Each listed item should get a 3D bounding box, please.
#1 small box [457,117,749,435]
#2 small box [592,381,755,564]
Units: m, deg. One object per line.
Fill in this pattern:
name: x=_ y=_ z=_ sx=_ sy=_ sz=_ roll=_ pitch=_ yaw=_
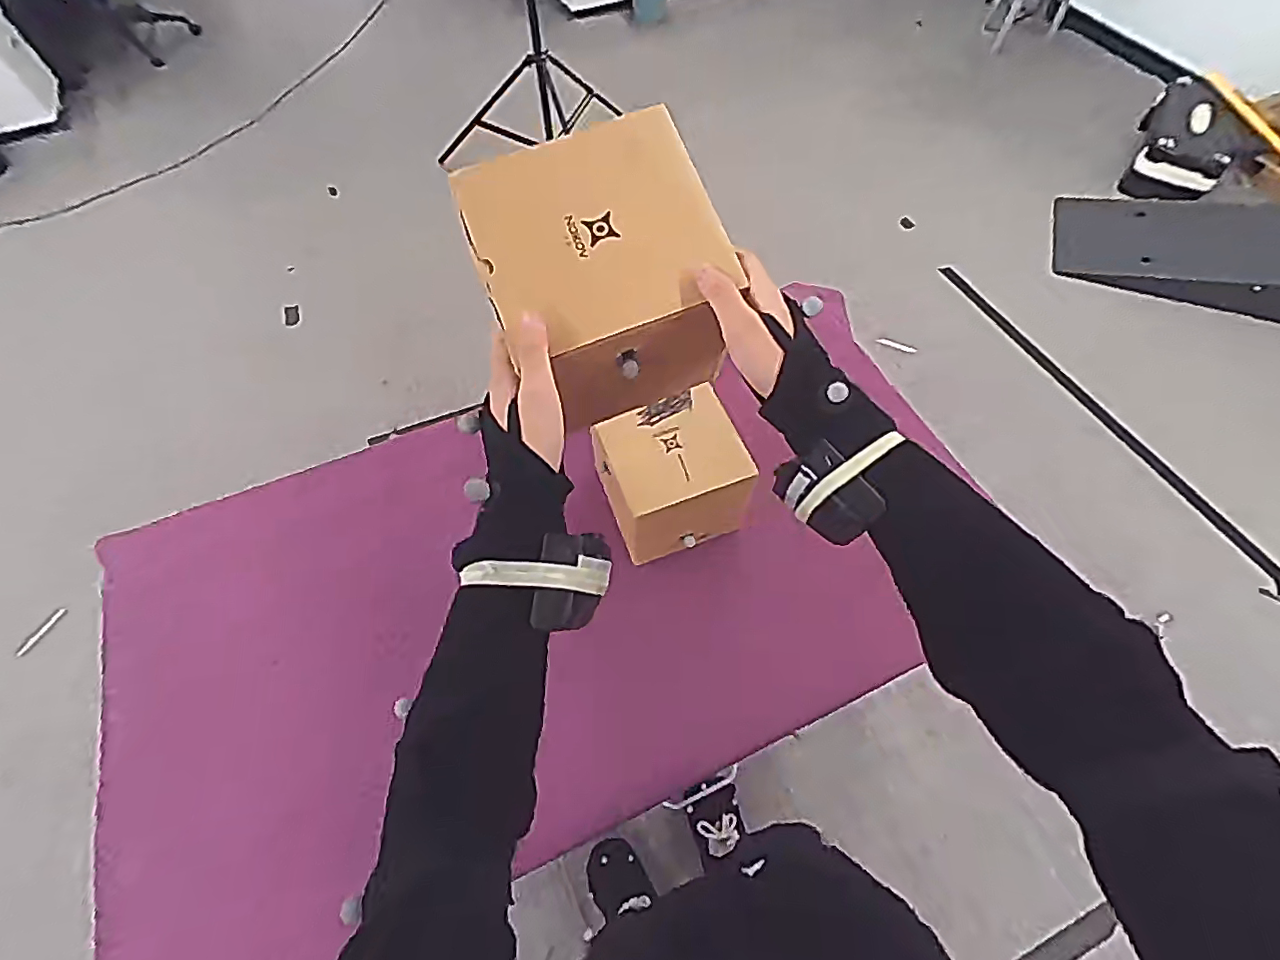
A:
small box: x=-0.029 y=-0.158 z=0.472 sx=0.179 sy=0.176 sz=0.168 roll=-21 pitch=79 yaw=-3
small box: x=0.034 y=-0.010 z=0.748 sx=0.168 sy=0.176 sz=0.179 roll=-19 pitch=63 yaw=-9
